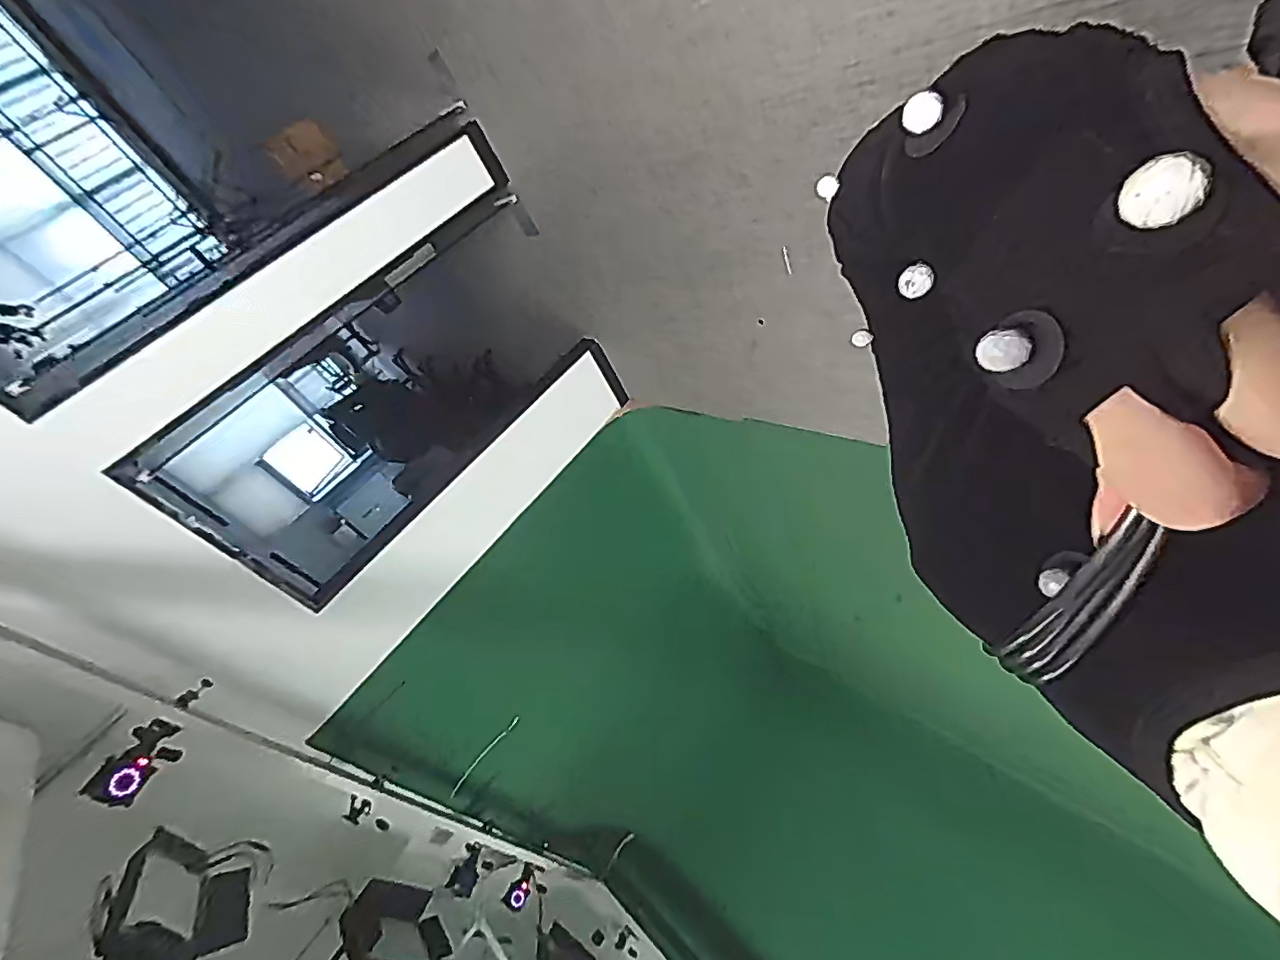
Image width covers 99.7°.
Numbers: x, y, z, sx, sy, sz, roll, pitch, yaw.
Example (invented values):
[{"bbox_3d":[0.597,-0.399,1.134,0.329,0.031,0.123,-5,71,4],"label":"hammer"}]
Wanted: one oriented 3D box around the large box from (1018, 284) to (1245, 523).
[{"bbox_3d":[1.102,-0.172,1.228,0.320,0.320,0.408,16,147,48],"label":"large box"}]
